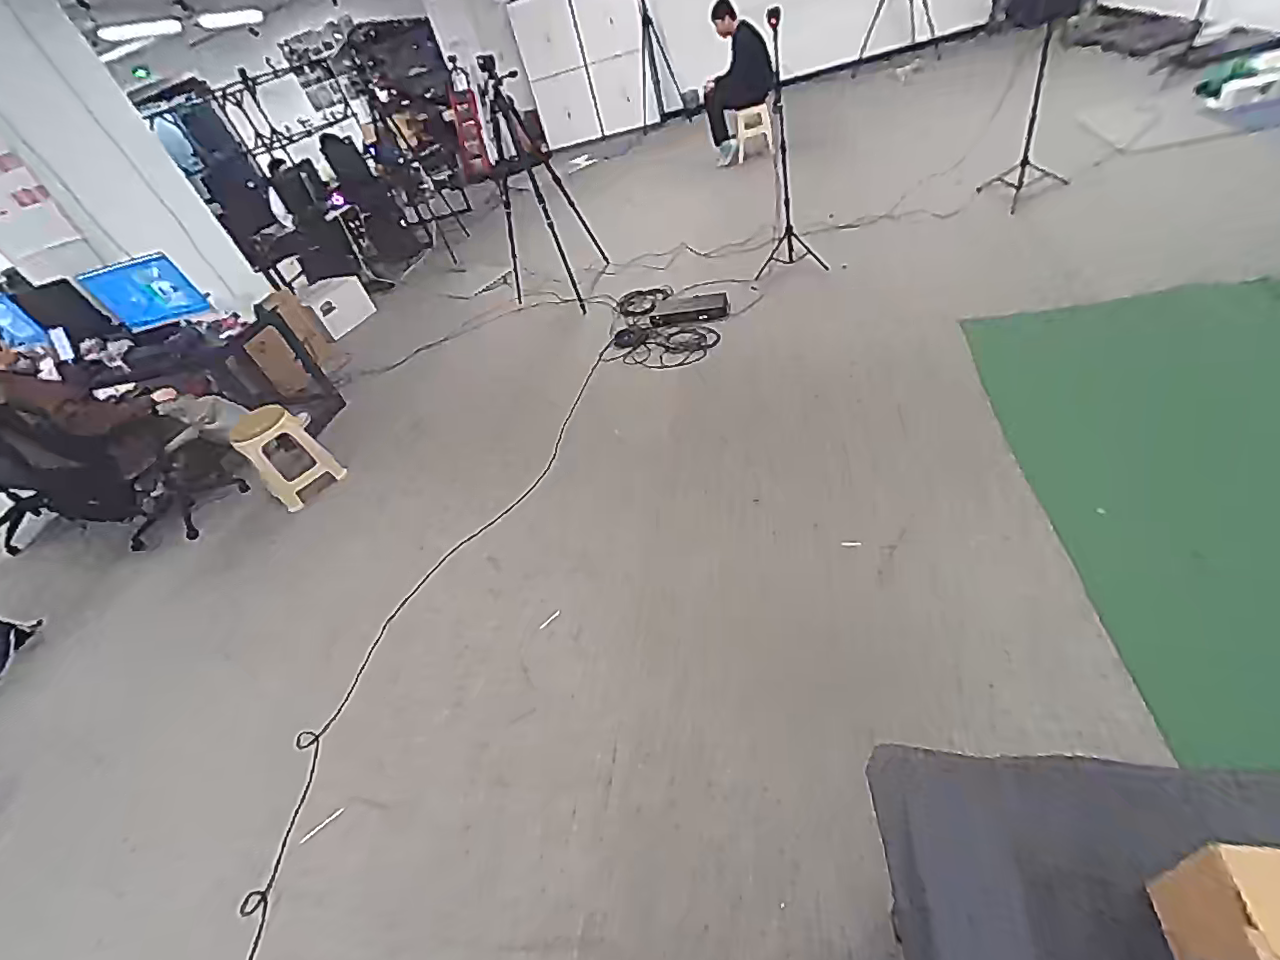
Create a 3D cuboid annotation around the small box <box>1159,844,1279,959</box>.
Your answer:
[{"bbox_3d":[0.590,0.432,0.452,0.179,0.176,0.168,-5,43,17],"label":"small box"}]
